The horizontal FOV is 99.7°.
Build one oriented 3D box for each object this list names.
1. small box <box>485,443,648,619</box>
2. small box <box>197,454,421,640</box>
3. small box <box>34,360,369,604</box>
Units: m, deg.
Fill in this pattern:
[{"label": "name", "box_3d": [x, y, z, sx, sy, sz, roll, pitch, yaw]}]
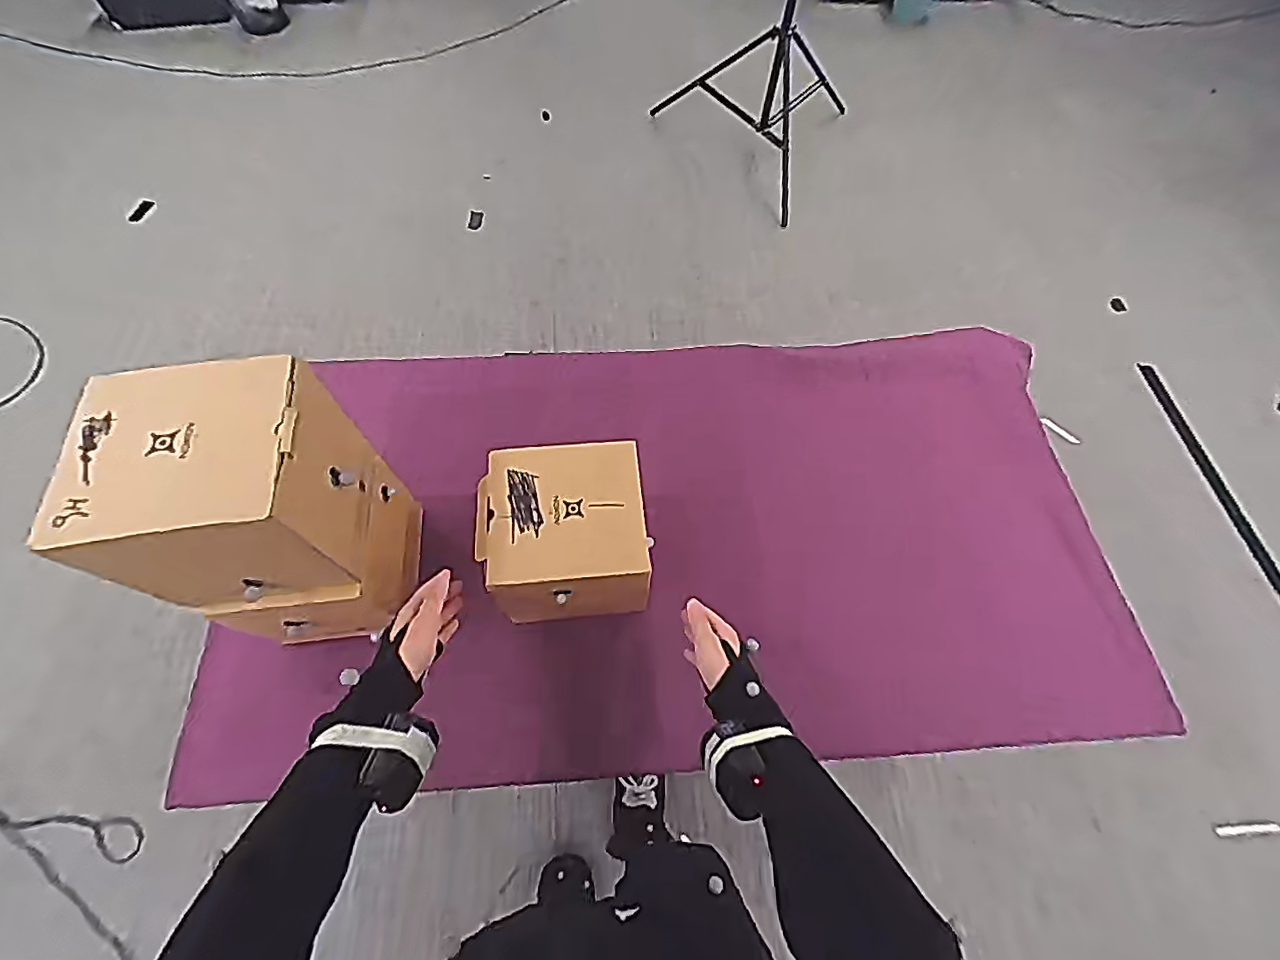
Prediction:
[{"label": "small box", "box_3d": [-0.086, 0.070, 0.677, 0.179, 0.176, 0.168, -4, 63, -5]}, {"label": "small box", "box_3d": [-0.380, 0.090, 0.660, 0.168, 0.176, 0.179, -6, 63, -5]}, {"label": "small box", "box_3d": [-0.382, 0.010, 0.517, 0.179, 0.176, 0.168, -7, 63, -6]}]
